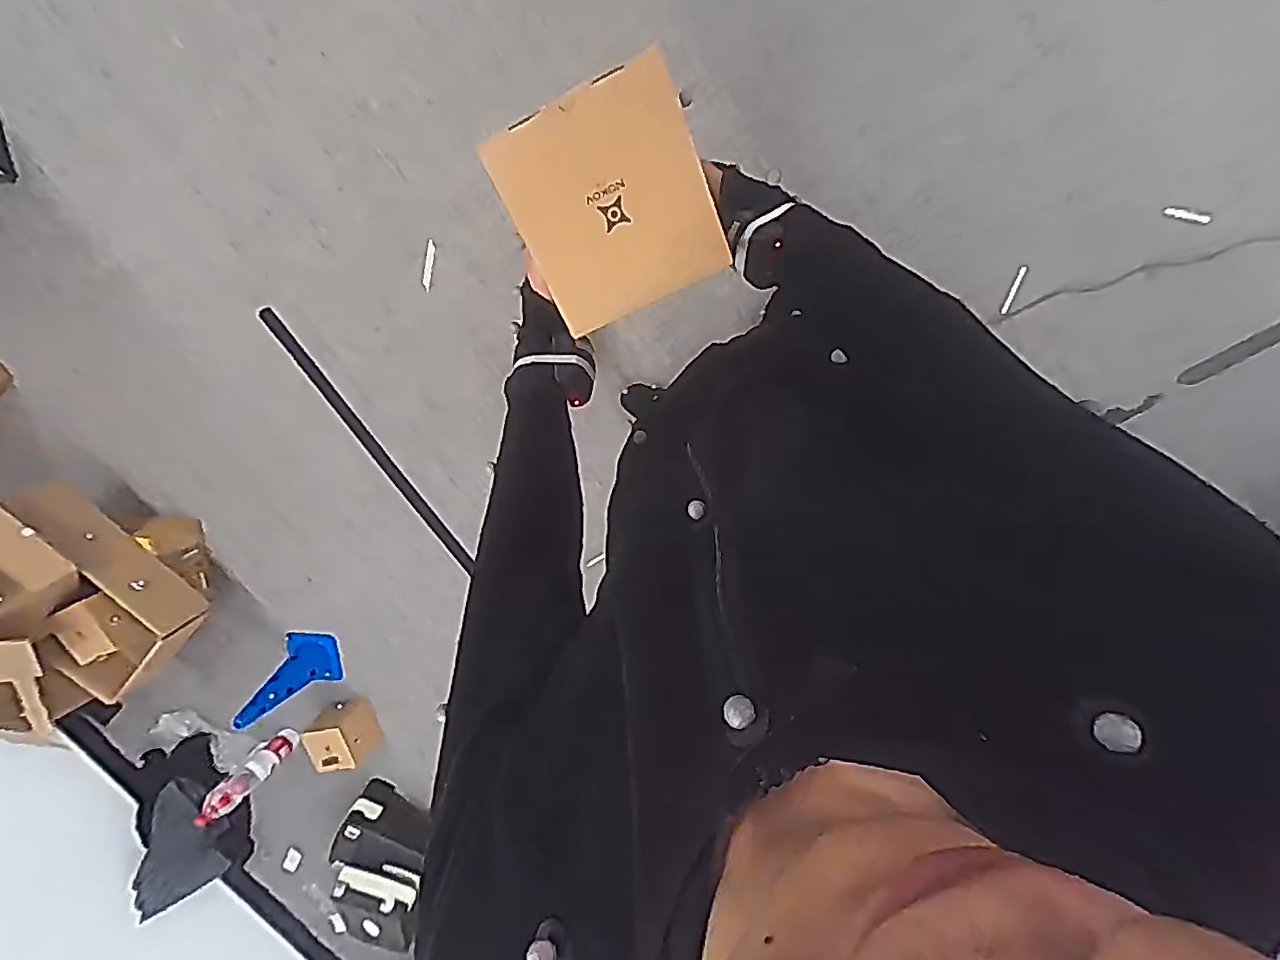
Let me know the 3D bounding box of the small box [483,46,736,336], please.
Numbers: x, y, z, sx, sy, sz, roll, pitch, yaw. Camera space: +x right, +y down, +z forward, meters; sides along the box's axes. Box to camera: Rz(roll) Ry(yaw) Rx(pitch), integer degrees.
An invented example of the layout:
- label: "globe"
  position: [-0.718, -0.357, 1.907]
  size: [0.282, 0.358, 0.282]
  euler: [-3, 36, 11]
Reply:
- label: "small box"
  position: [-0.023, -0.272, 0.529]
  size: [0.168, 0.176, 0.179]
  euler: [-23, 118, 9]
